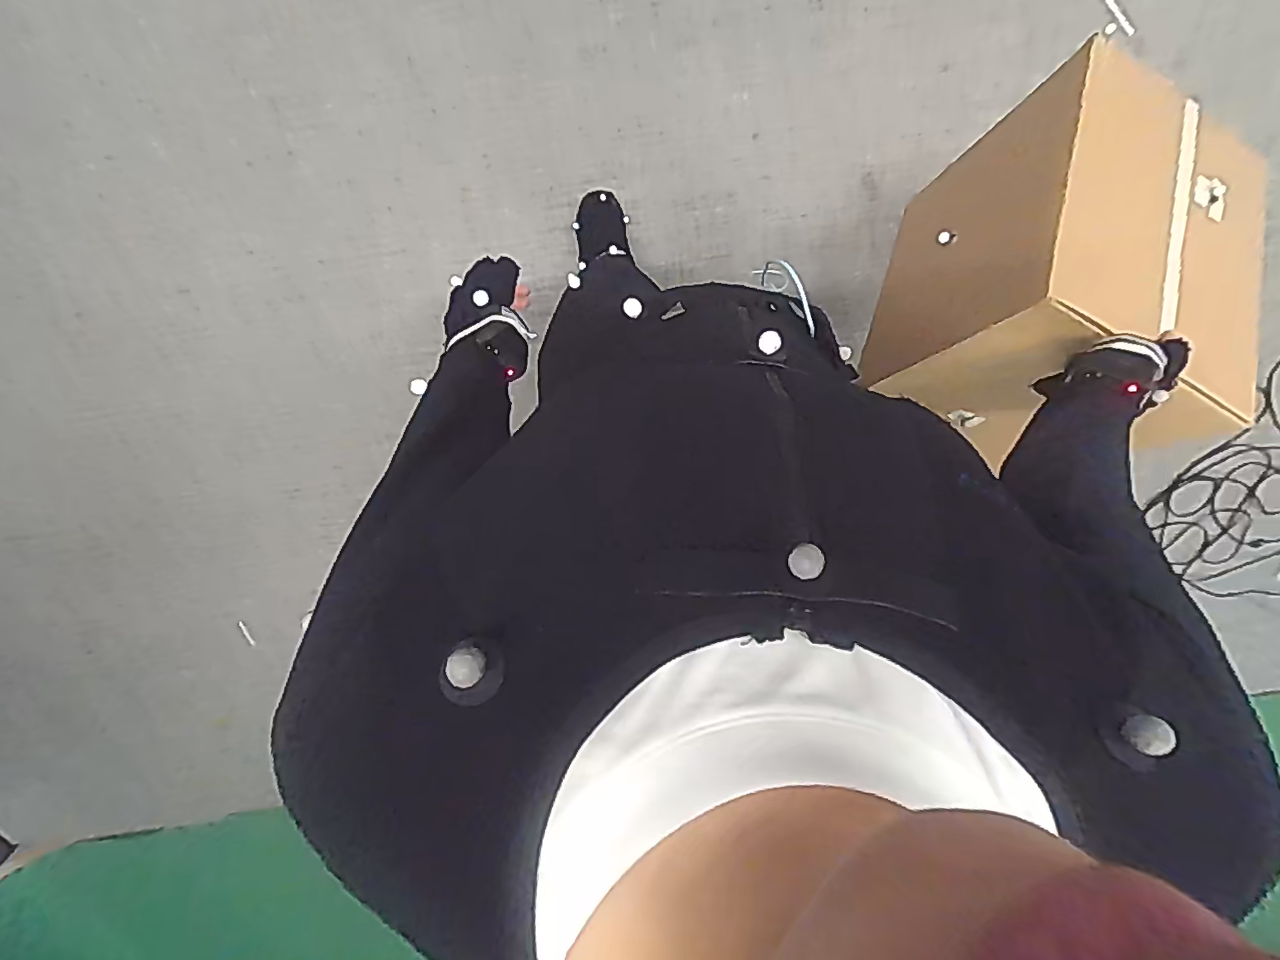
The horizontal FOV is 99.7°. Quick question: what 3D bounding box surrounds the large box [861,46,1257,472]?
[{"bbox_3d":[0.578,-0.271,0.780,0.320,0.320,0.408,25,73,-11],"label":"large box"}]
